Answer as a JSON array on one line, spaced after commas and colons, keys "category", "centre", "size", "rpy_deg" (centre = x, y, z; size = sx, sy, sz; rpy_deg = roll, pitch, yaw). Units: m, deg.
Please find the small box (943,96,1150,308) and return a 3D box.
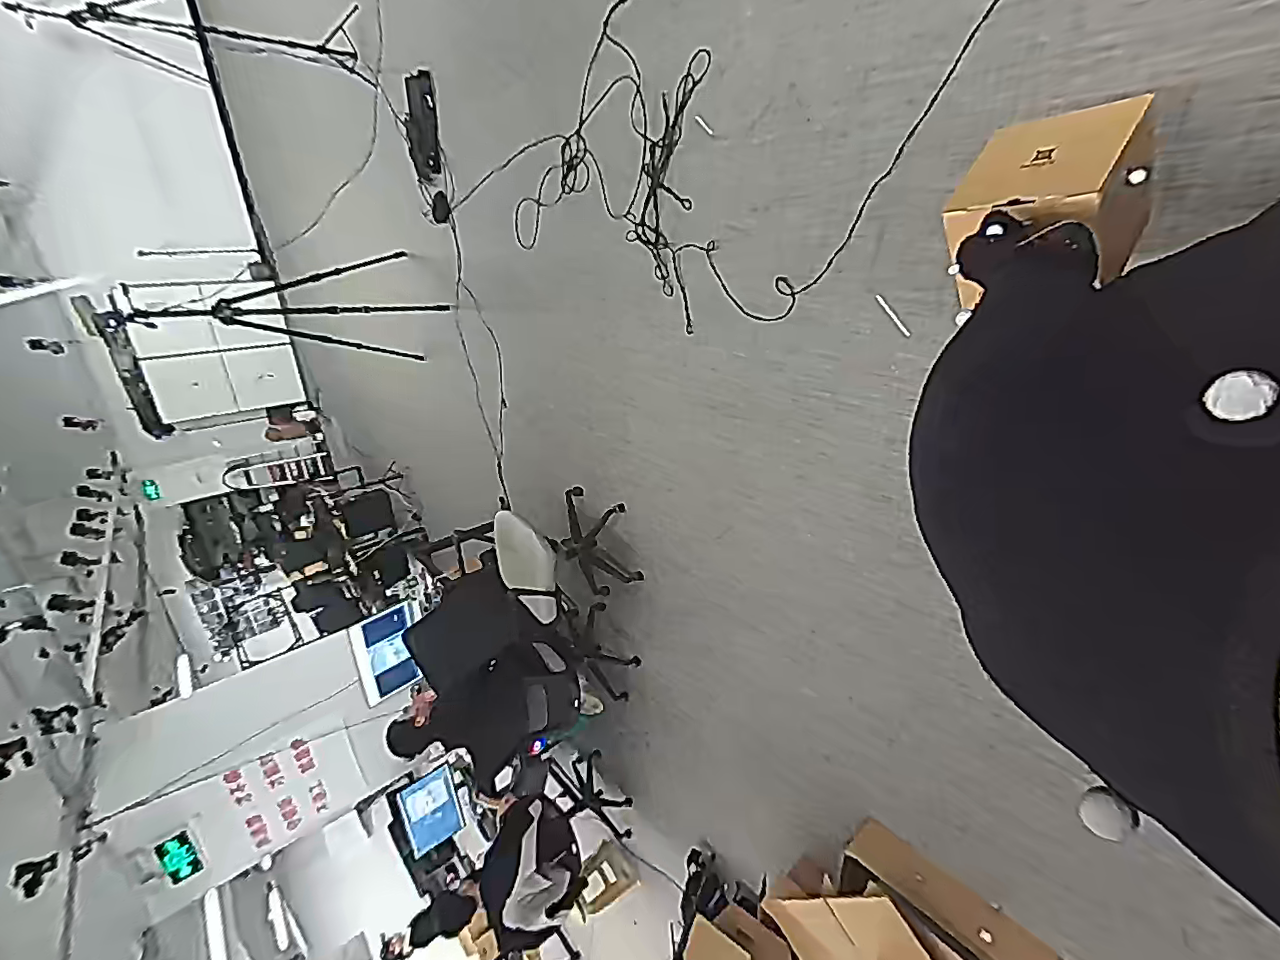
[{"category": "small box", "centre": [0.536, -0.354, 0.719], "size": [0.168, 0.179, 0.176], "rpy_deg": [20, 159, 49]}]
